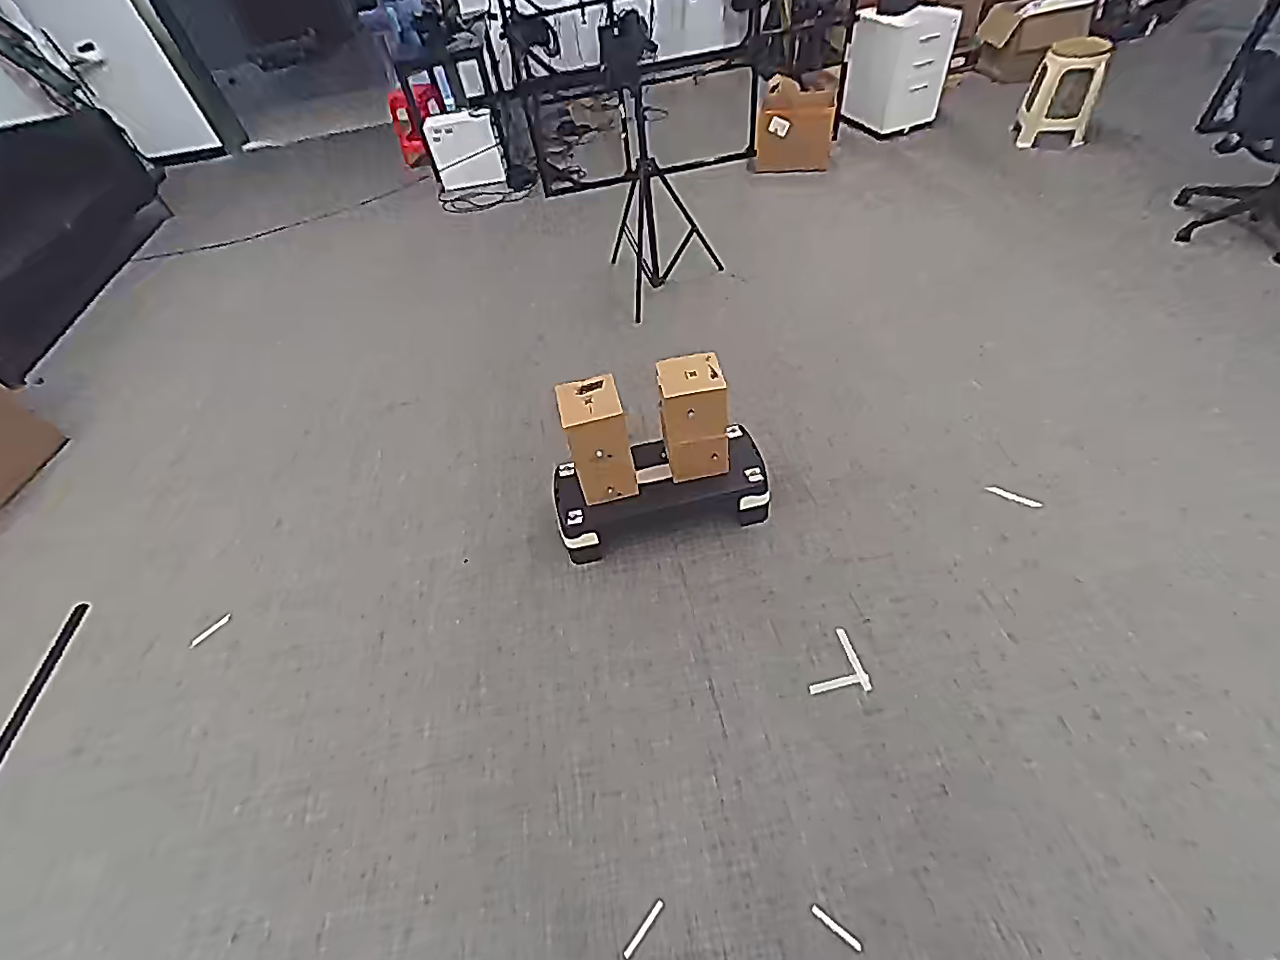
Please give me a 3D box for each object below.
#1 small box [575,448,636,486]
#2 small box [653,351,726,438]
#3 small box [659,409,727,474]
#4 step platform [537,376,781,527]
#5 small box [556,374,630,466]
[{"bbox_3d":[-0.110,-0.059,1.645,0.168,0.176,0.179,-13,50,-2],"label":"small box"},{"bbox_3d":[0.143,-0.240,1.545,0.179,0.176,0.168,-11,49,1],"label":"small box"},{"bbox_3d":[0.164,-0.121,1.659,0.179,0.176,0.168,-13,49,1],"label":"small box"},{"bbox_3d":[0.055,-0.082,1.594,0.684,0.204,0.286,-13,49,-3],"label":"step platform"},{"bbox_3d":[-0.132,-0.167,1.523,0.168,0.176,0.179,-14,50,-3],"label":"small box"}]
